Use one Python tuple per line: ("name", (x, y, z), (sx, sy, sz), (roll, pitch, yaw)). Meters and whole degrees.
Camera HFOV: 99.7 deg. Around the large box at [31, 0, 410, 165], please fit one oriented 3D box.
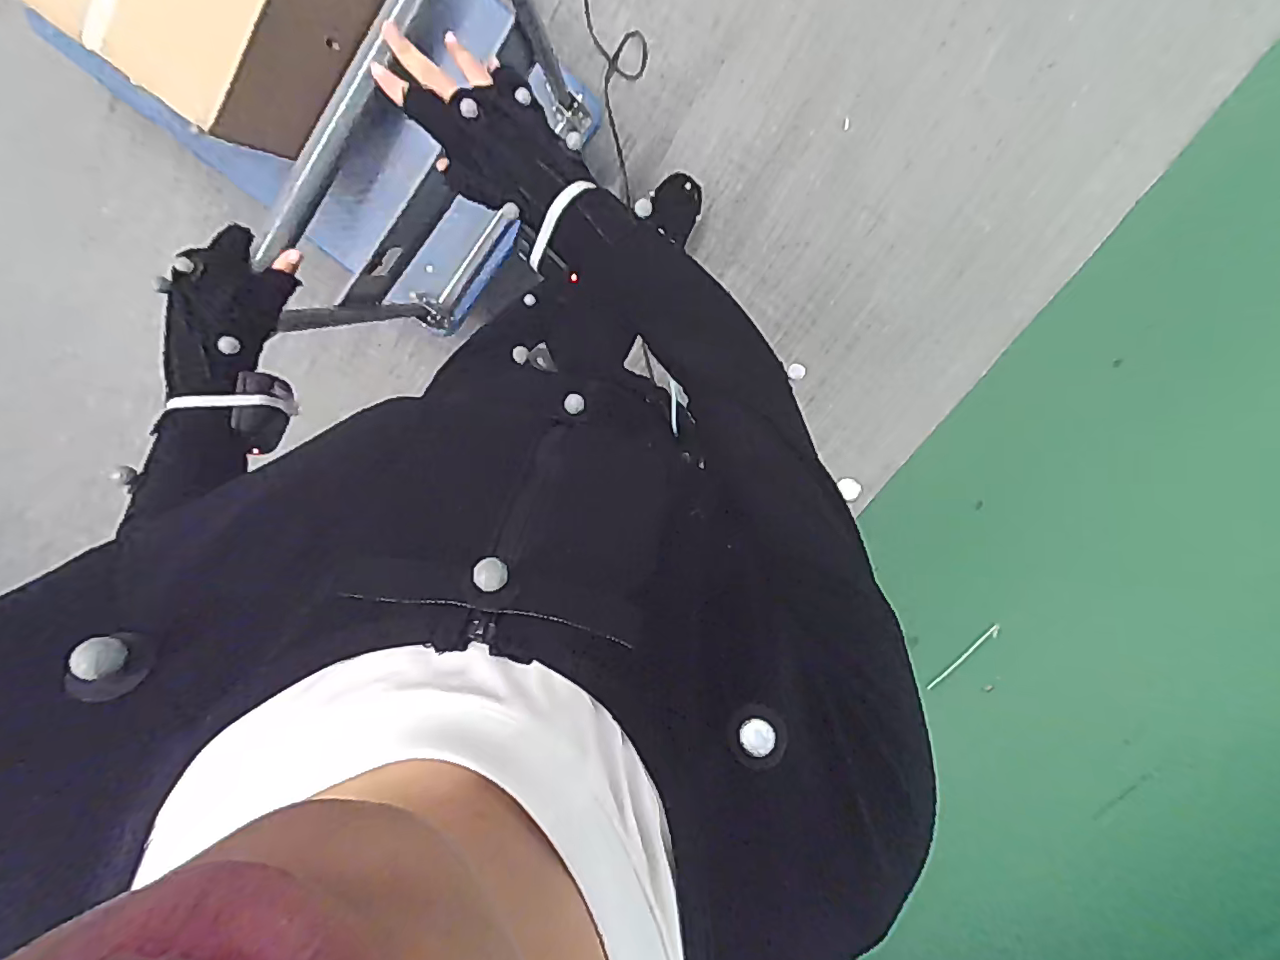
("large box", (-0.602, -0.783, 0.829), (0.320, 0.320, 0.408), (35, 108, -15))
